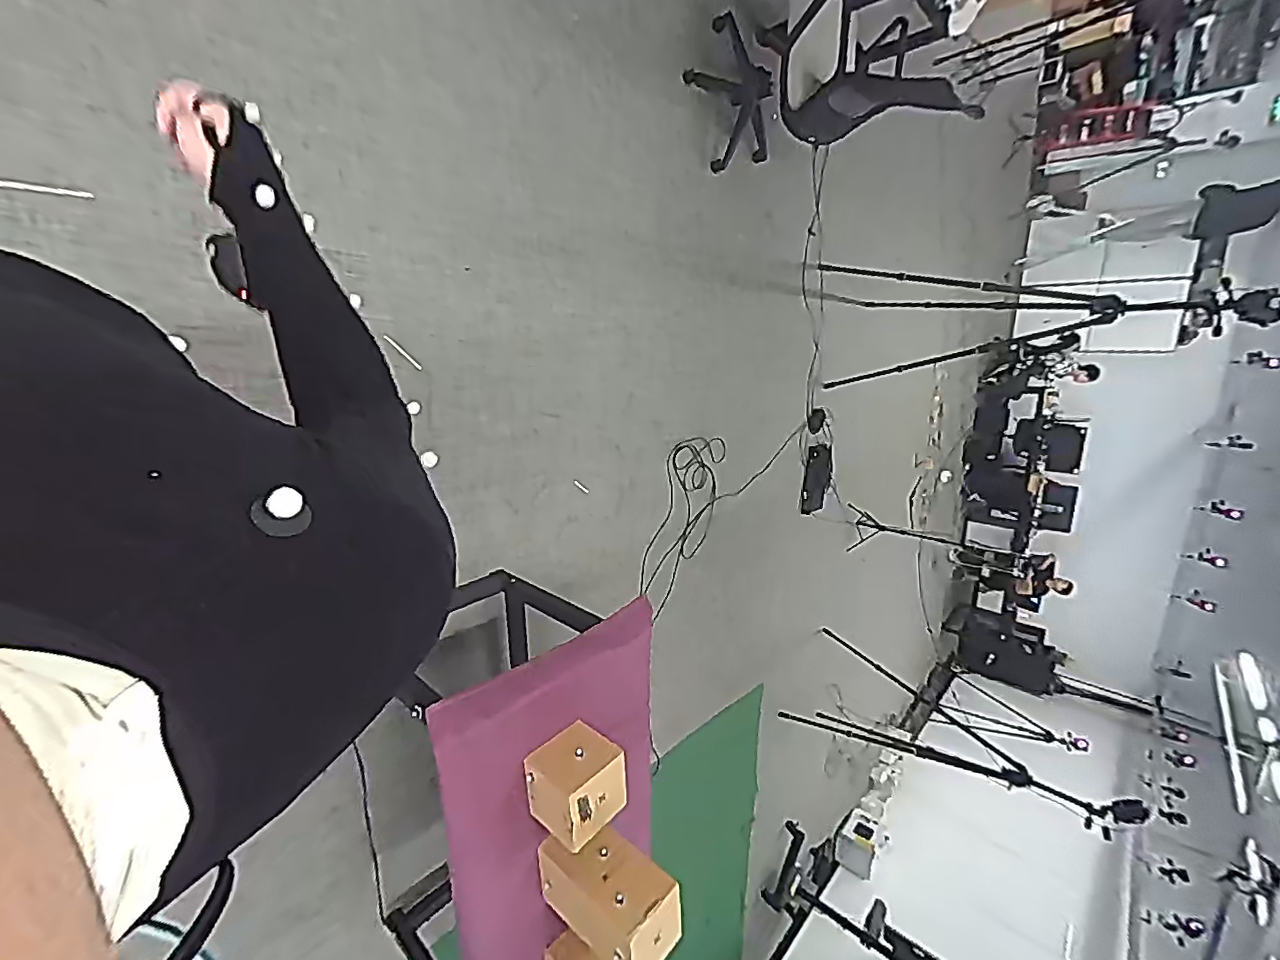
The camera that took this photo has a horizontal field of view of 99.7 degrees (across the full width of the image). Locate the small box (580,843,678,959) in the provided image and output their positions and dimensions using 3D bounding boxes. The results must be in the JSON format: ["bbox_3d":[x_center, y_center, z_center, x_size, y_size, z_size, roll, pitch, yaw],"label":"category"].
[{"bbox_3d":[-0.027,1.011,1.283,0.168,0.176,0.179,-19,113,-43],"label":"small box"}]

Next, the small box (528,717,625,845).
[{"bbox_3d":[-0.158,0.716,1.309,0.179,0.176,0.168,-19,114,-45],"label":"small box"}]

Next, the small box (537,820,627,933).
[{"bbox_3d":[-0.147,0.986,1.392,0.168,0.176,0.179,-19,114,-44],"label":"small box"}]

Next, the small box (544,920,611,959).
[{"bbox_3d":[-0.145,1.321,1.477,0.179,0.176,0.168,-11,107,-46],"label":"small box"}]
